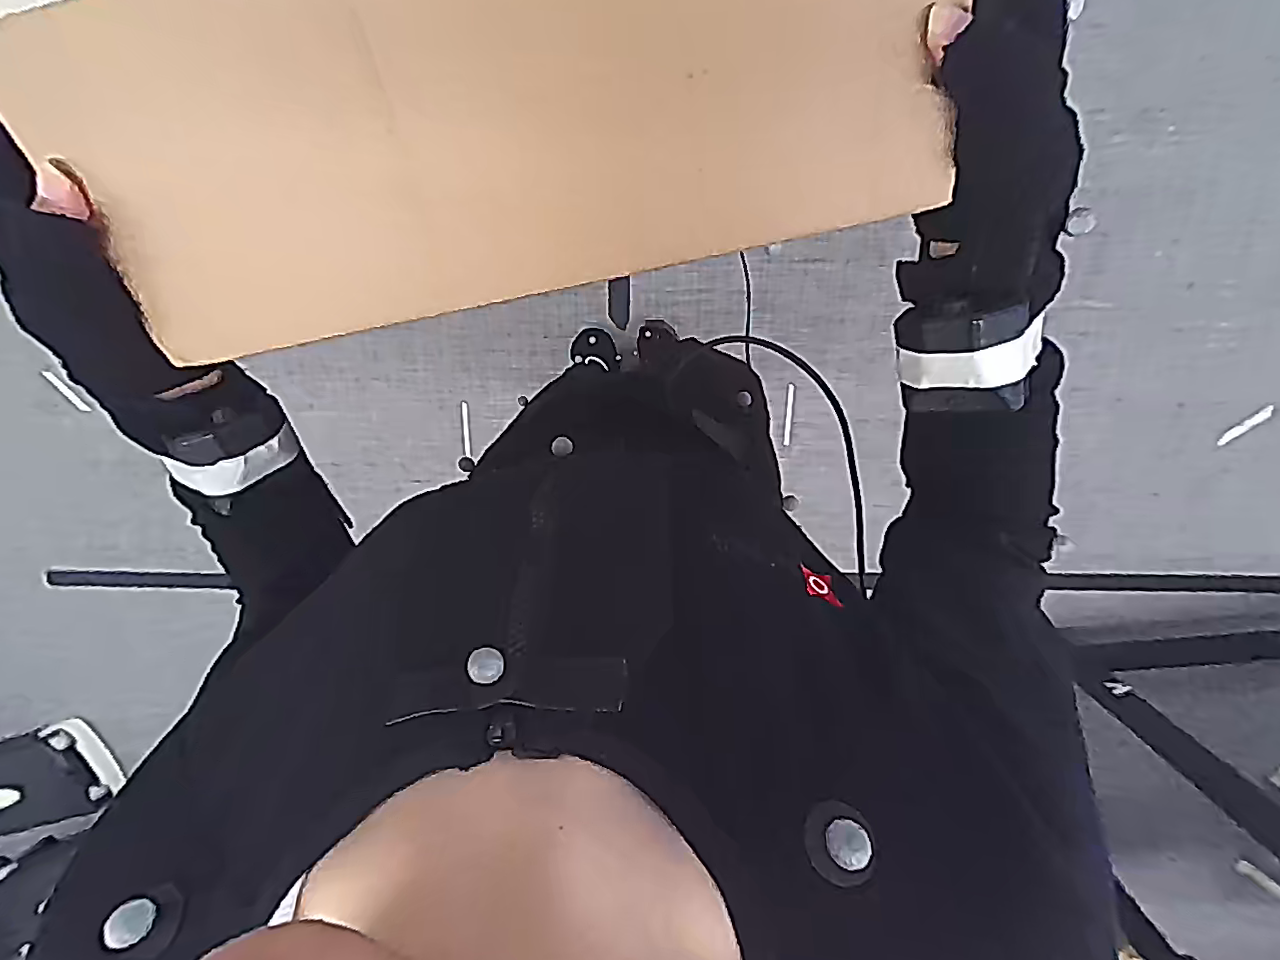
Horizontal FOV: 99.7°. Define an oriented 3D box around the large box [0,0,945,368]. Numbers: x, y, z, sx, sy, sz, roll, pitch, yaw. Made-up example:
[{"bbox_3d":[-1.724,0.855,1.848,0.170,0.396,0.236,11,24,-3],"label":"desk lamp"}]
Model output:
[{"bbox_3d":[-0.081,-0.302,0.333,0.408,0.320,0.320,-9,120,6],"label":"large box"}]
